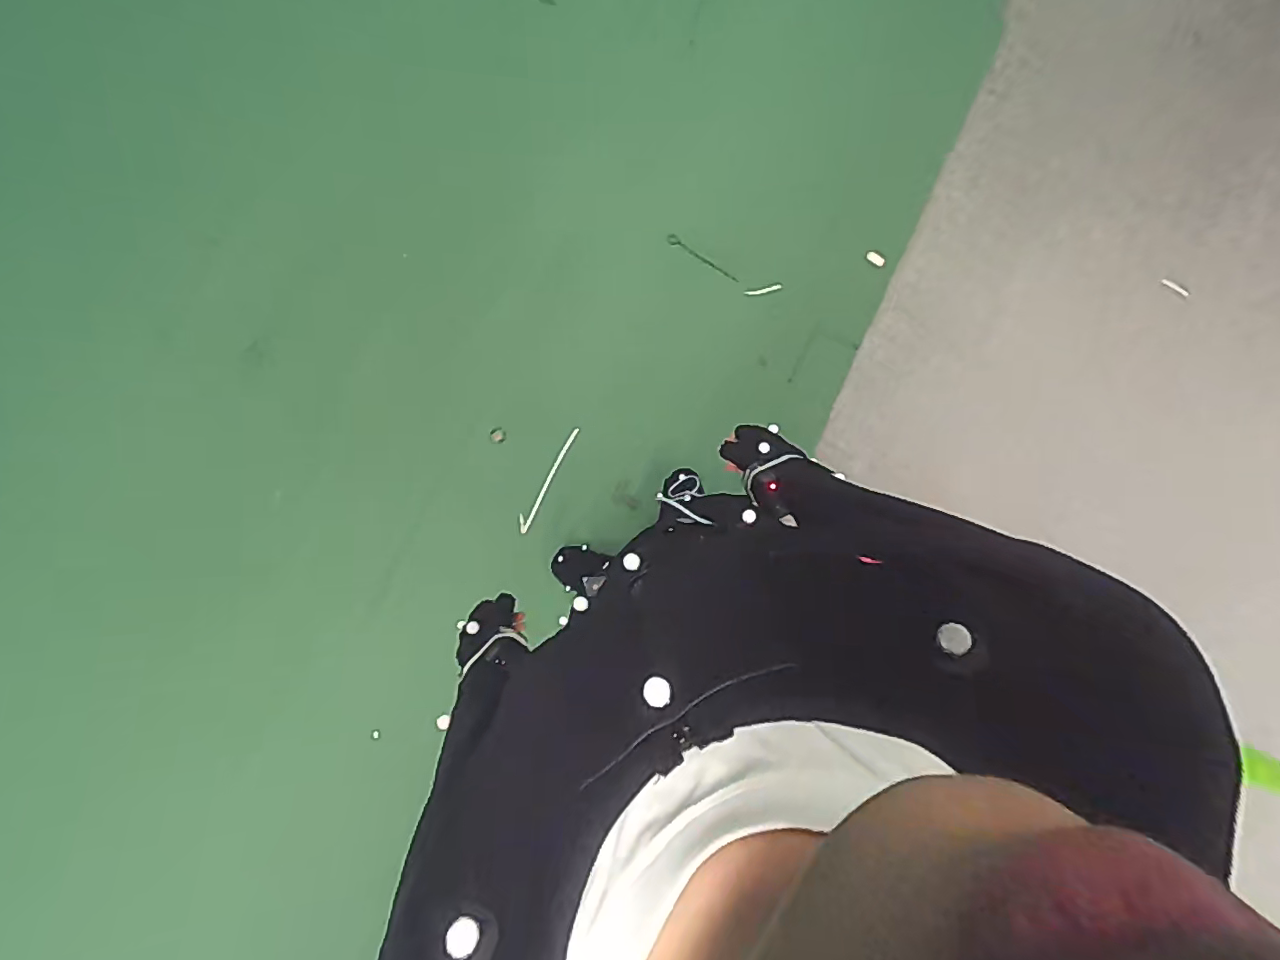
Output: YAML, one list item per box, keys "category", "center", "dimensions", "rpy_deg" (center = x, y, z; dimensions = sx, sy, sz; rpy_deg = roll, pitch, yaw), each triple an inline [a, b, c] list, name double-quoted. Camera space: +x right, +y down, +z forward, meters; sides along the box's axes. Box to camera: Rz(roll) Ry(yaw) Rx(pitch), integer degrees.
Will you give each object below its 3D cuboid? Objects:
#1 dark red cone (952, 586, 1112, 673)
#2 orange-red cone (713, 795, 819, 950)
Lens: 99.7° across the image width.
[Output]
- category: "dark red cone"
  center: [1.032, 0.422, 1.410]
  dimensions: [0.201, 0.394, 0.202]
  rpy_deg: [20, 85, -5]
- category: "orange-red cone"
  center: [0.342, 0.981, 1.319]
  dimensions: [0.199, 0.360, 0.198]
  rpy_deg: [26, 85, -6]
